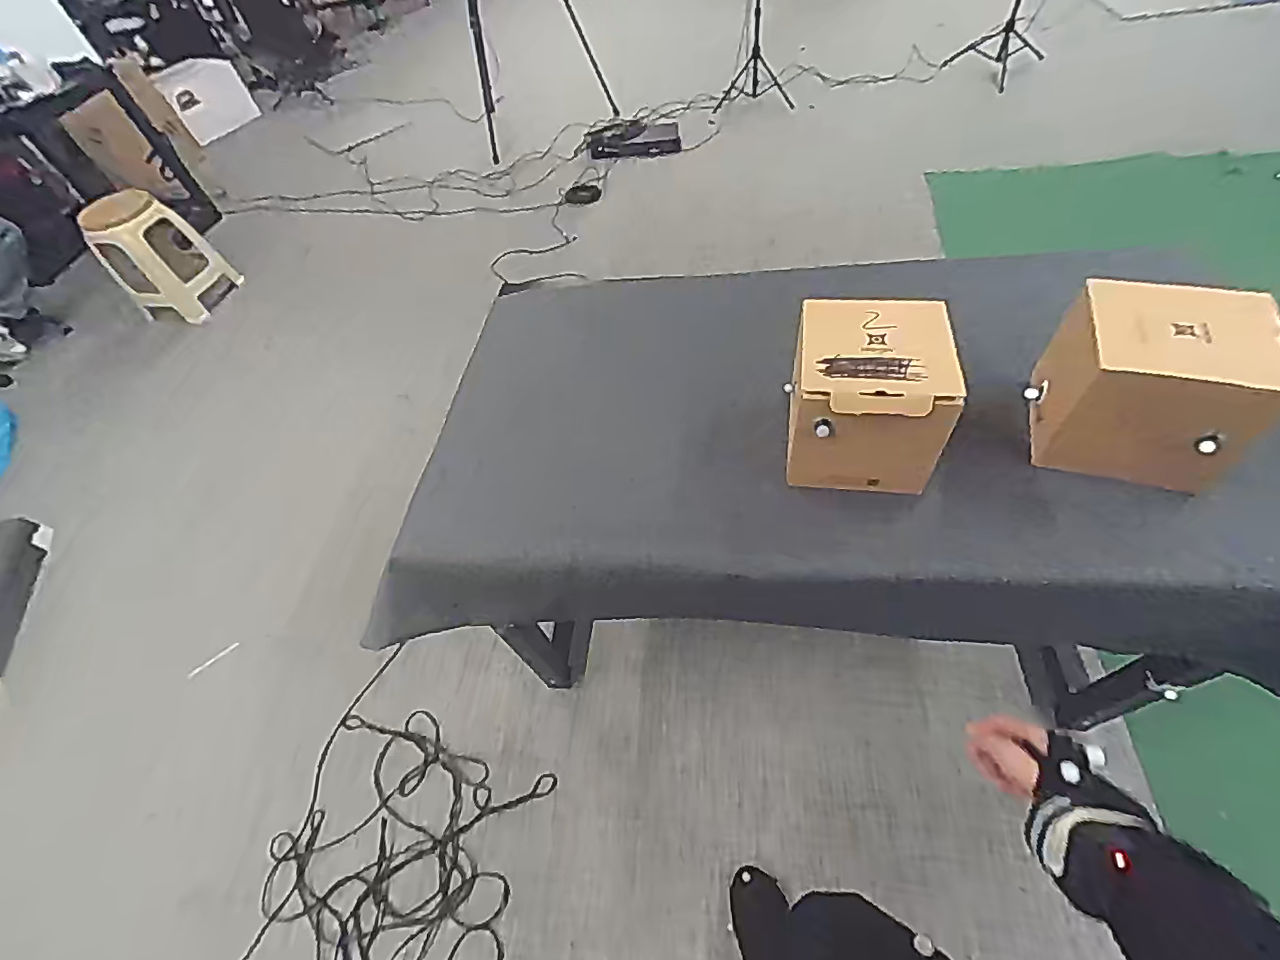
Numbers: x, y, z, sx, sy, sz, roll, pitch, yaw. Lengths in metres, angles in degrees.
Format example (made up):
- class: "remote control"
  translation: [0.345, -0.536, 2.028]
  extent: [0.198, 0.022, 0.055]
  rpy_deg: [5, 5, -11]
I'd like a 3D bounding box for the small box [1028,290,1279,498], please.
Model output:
- class: "small box"
  translation: [0.600, -0.099, 0.644]
  extent: [0.179, 0.176, 0.168]
  rpy_deg: [12, 55, 18]
